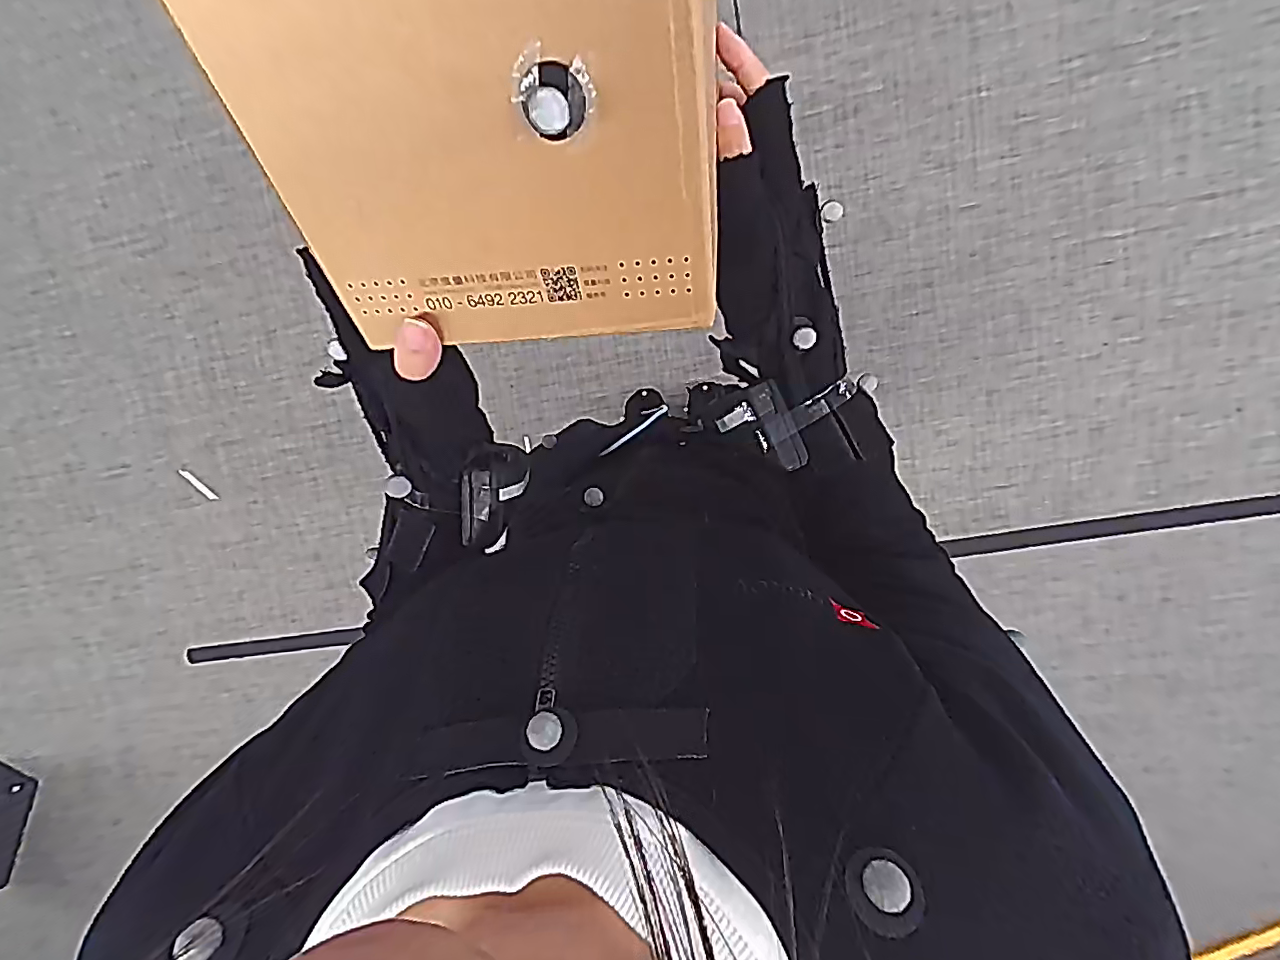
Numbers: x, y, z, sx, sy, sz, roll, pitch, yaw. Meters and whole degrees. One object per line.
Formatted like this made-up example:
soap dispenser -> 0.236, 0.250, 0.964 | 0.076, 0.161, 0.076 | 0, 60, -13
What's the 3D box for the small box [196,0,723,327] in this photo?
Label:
small box -> -0.048, -0.186, 0.258 | 0.168, 0.179, 0.176 | 0, 138, 11
